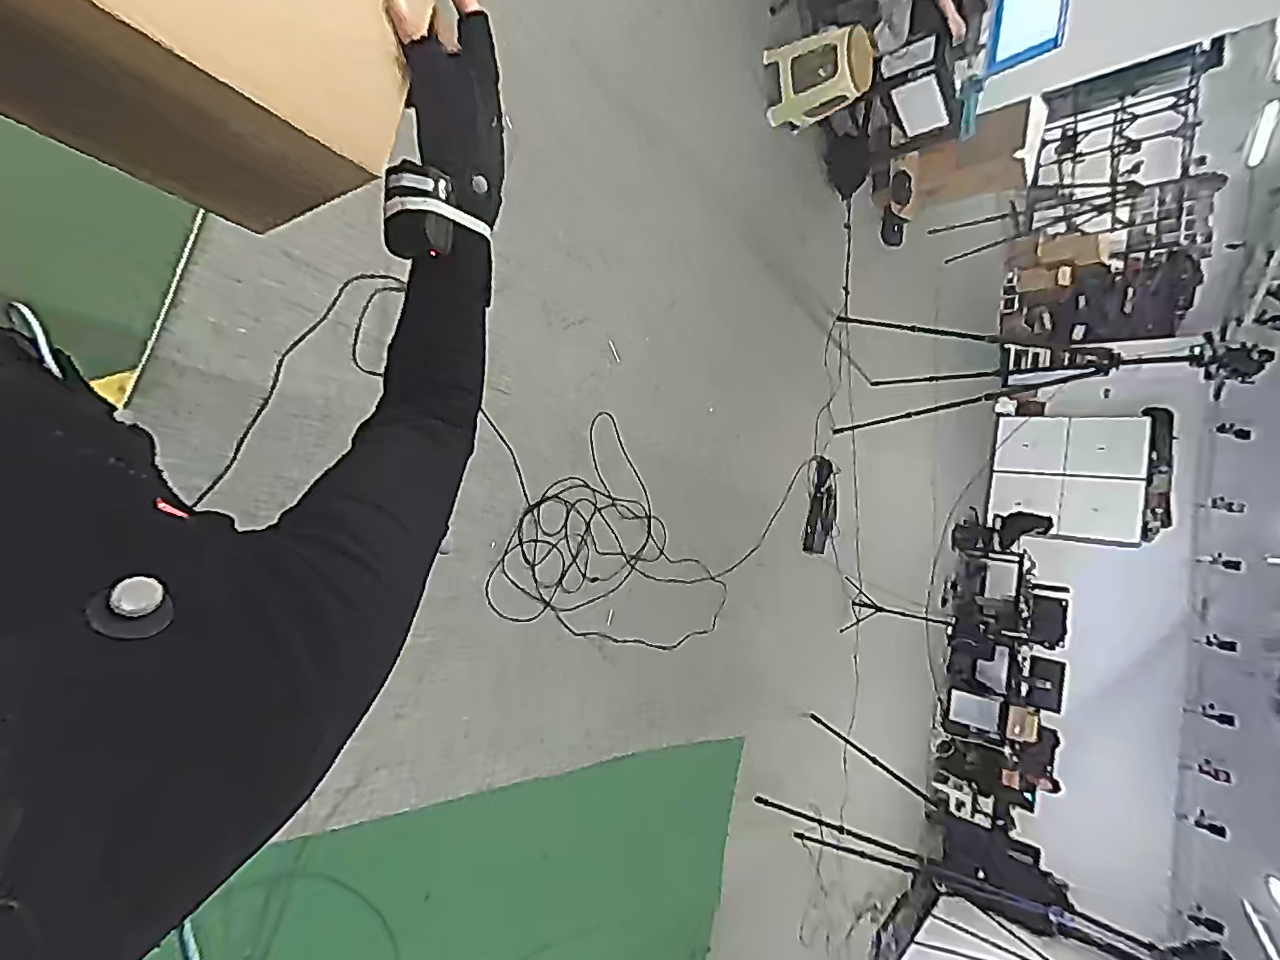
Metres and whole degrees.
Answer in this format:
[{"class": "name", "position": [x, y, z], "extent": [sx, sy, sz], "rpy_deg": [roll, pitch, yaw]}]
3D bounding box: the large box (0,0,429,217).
[{"class": "large box", "position": [-0.392, -0.444, 0.357], "extent": [0.408, 0.320, 0.320], "rpy_deg": [16, 87, -50]}]
